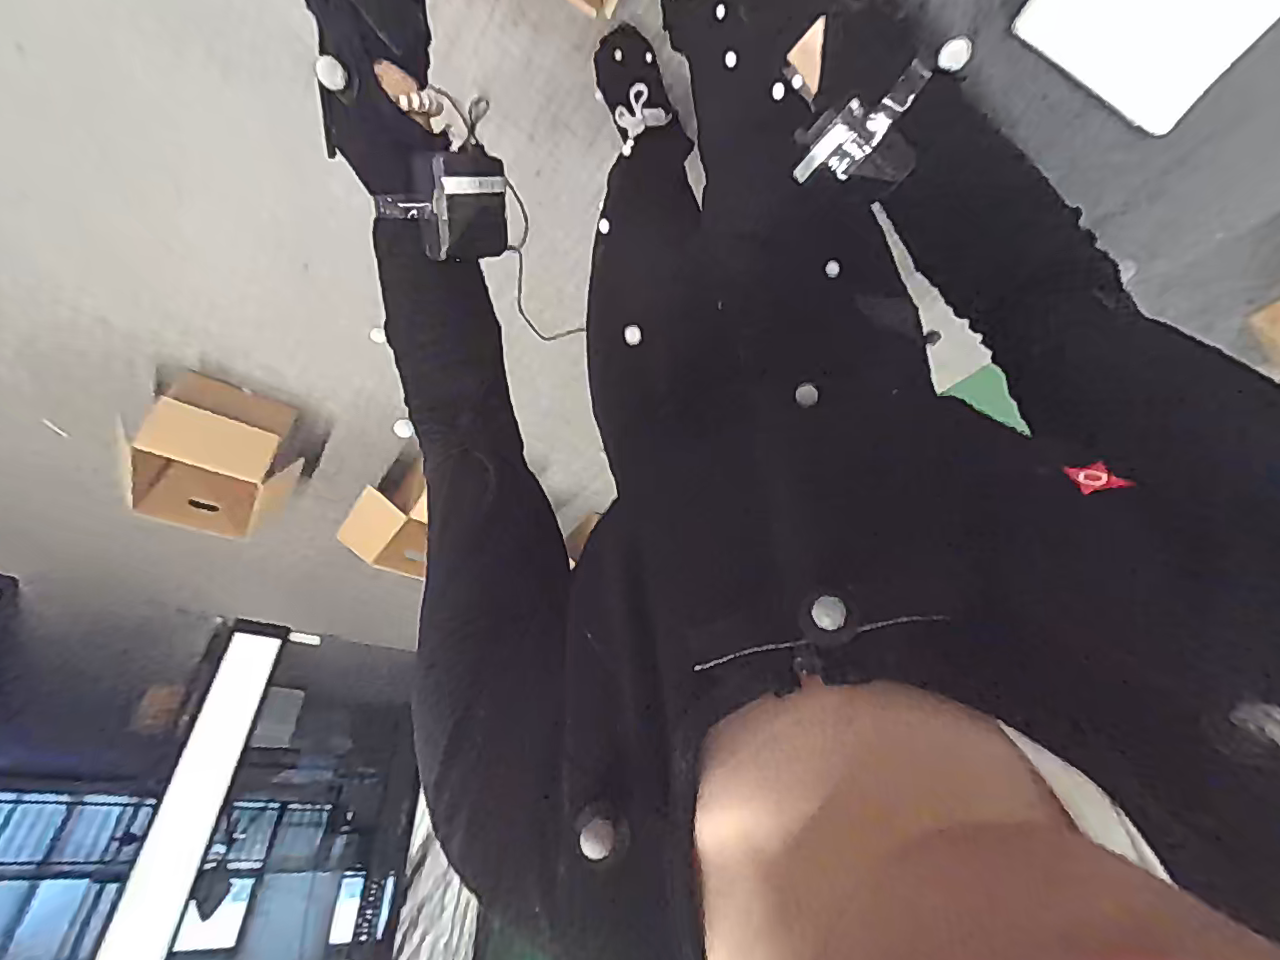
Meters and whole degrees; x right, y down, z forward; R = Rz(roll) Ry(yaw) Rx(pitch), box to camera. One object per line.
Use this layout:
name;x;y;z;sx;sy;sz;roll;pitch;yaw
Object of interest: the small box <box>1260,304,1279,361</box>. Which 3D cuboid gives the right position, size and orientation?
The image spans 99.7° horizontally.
small box;0.851;-0.147;0.587;0.179;0.176;0.168;20;138;-28
